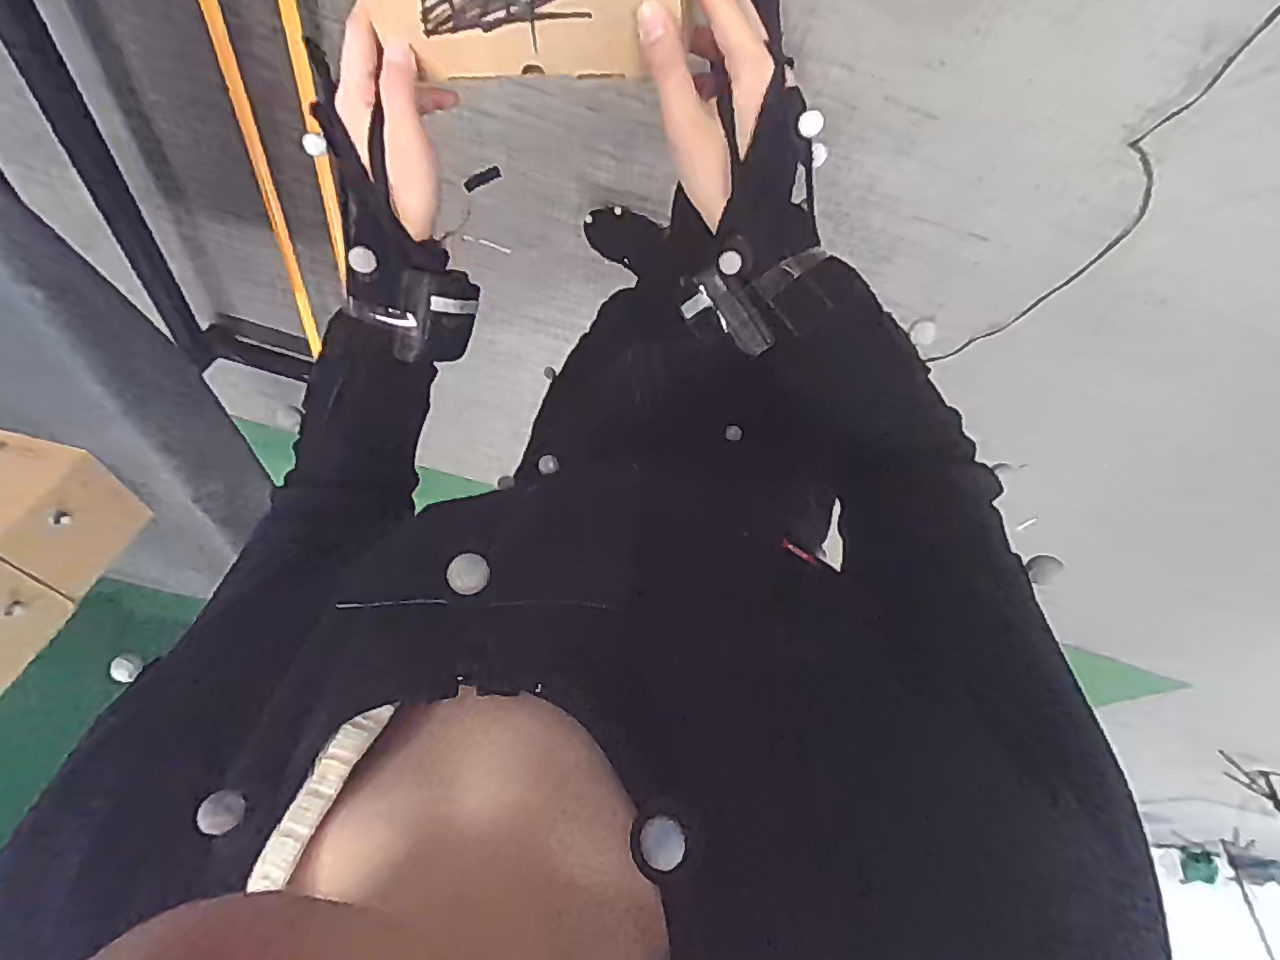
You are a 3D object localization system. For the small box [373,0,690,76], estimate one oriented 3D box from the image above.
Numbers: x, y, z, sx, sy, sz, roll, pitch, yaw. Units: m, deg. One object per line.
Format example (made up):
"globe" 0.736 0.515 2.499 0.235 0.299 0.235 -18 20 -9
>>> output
"small box" -0.050 -0.338 0.265 0.168 0.176 0.179 6 150 8

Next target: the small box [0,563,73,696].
"small box" -0.919 0.182 0.692 0.168 0.176 0.179 15 143 -2

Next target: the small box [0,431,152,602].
"small box" -0.887 0.051 0.785 0.168 0.176 0.179 15 144 -1
